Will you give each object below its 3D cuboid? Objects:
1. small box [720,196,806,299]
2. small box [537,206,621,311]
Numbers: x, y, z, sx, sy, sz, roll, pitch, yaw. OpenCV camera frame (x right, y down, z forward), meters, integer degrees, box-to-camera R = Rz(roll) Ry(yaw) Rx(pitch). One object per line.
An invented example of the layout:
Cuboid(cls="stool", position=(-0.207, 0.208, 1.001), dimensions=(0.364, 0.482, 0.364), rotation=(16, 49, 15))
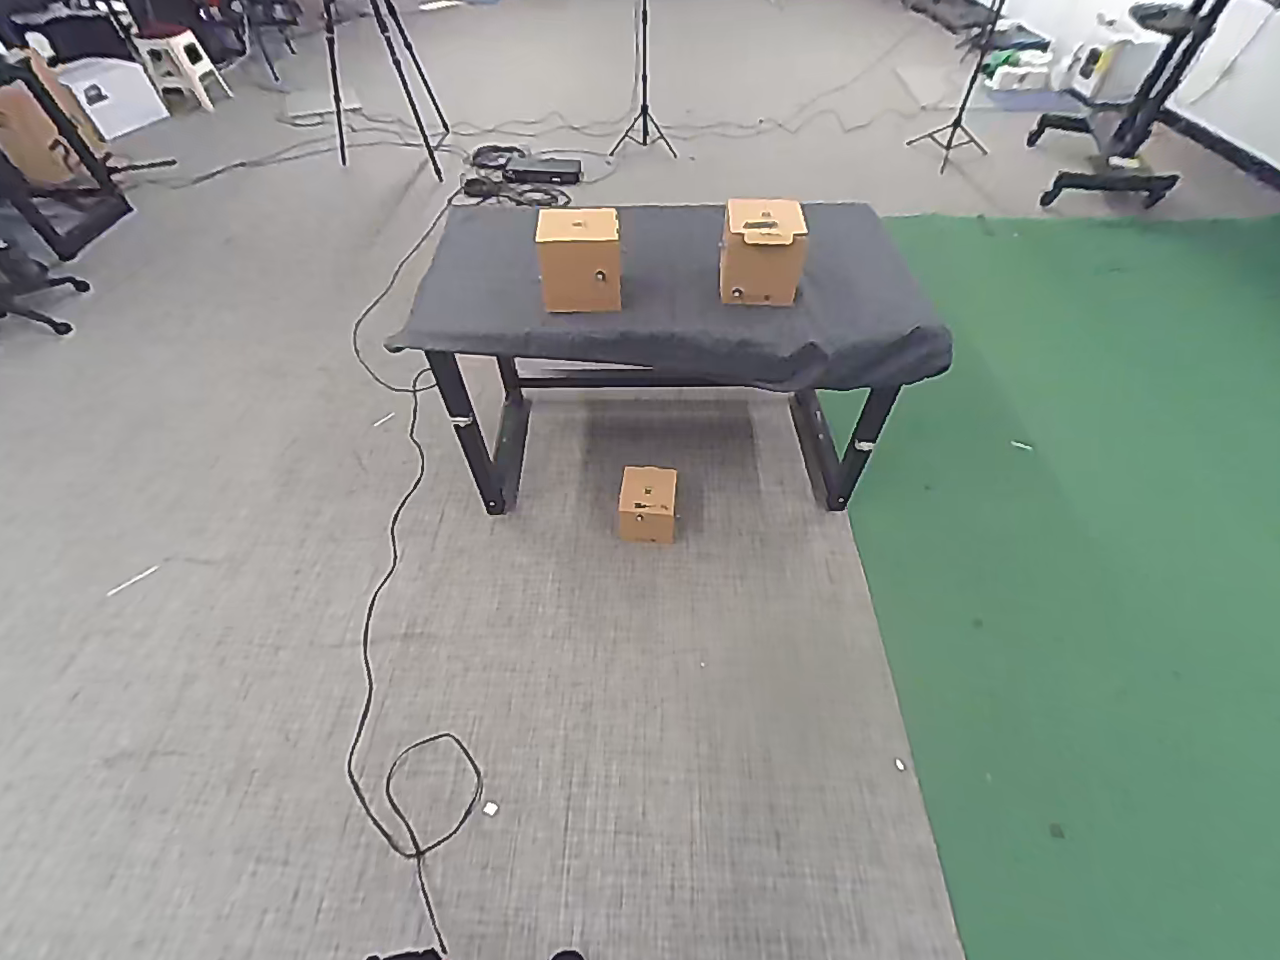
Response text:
Cuboid(cls="small box", position=(0.278, -0.536, 1.253), dimensions=(0.168, 0.176, 0.179), rotation=(3, 50, 4))
Cuboid(cls="small box", position=(-0.133, -0.506, 1.238), dimensions=(0.179, 0.176, 0.168), rotation=(-4, 48, -1))
